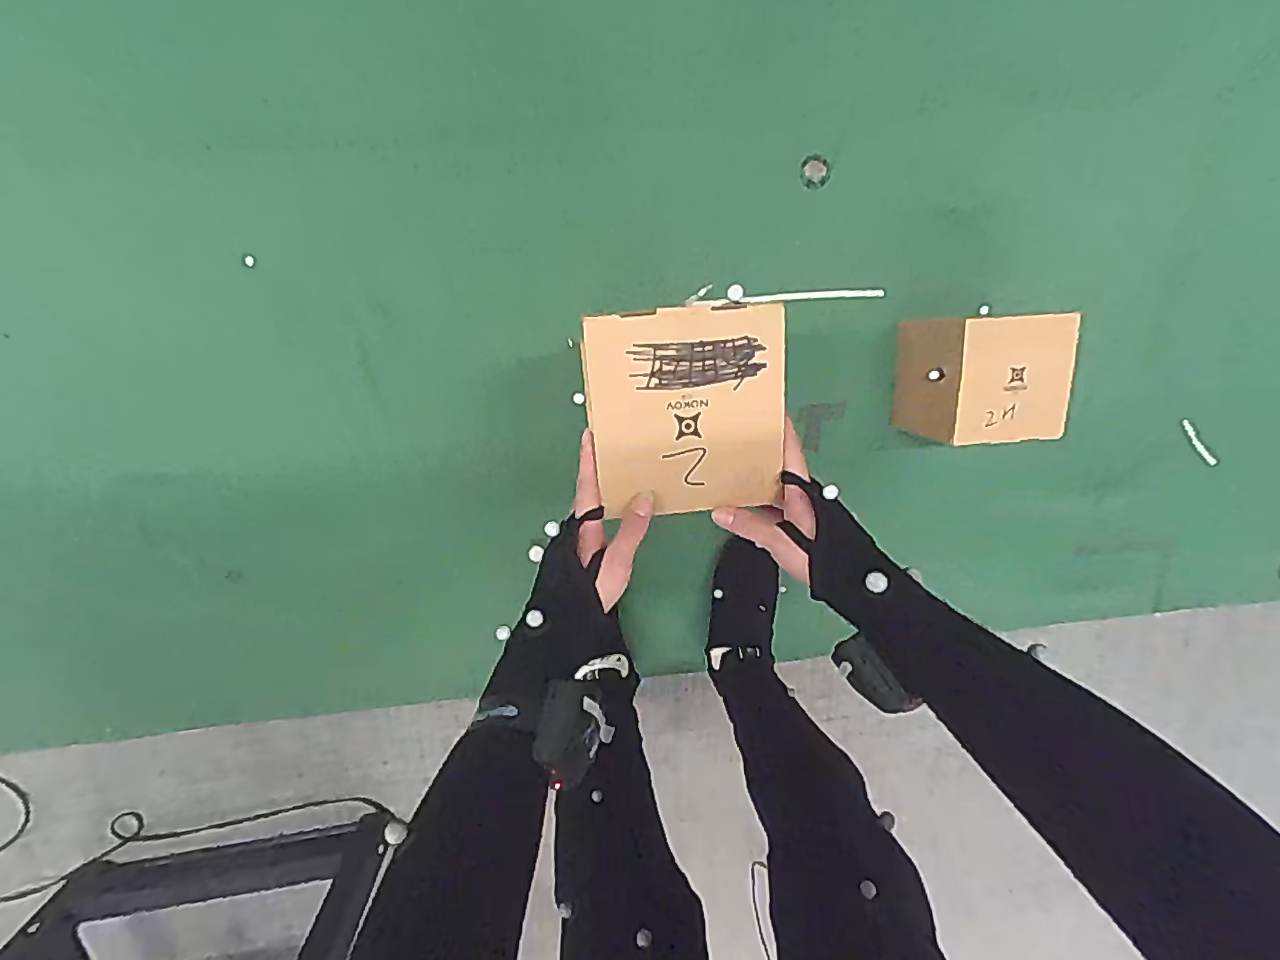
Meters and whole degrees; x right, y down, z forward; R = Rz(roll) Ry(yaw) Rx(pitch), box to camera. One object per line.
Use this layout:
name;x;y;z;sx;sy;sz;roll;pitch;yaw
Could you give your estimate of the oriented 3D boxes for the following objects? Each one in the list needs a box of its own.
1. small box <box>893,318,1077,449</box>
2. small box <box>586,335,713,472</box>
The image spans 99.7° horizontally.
small box;0.512;-0.151;0.828;0.168;0.176;0.179;-4;105;-4
small box;0.011;-0.119;0.792;0.168;0.176;0.179;-5;104;-4
